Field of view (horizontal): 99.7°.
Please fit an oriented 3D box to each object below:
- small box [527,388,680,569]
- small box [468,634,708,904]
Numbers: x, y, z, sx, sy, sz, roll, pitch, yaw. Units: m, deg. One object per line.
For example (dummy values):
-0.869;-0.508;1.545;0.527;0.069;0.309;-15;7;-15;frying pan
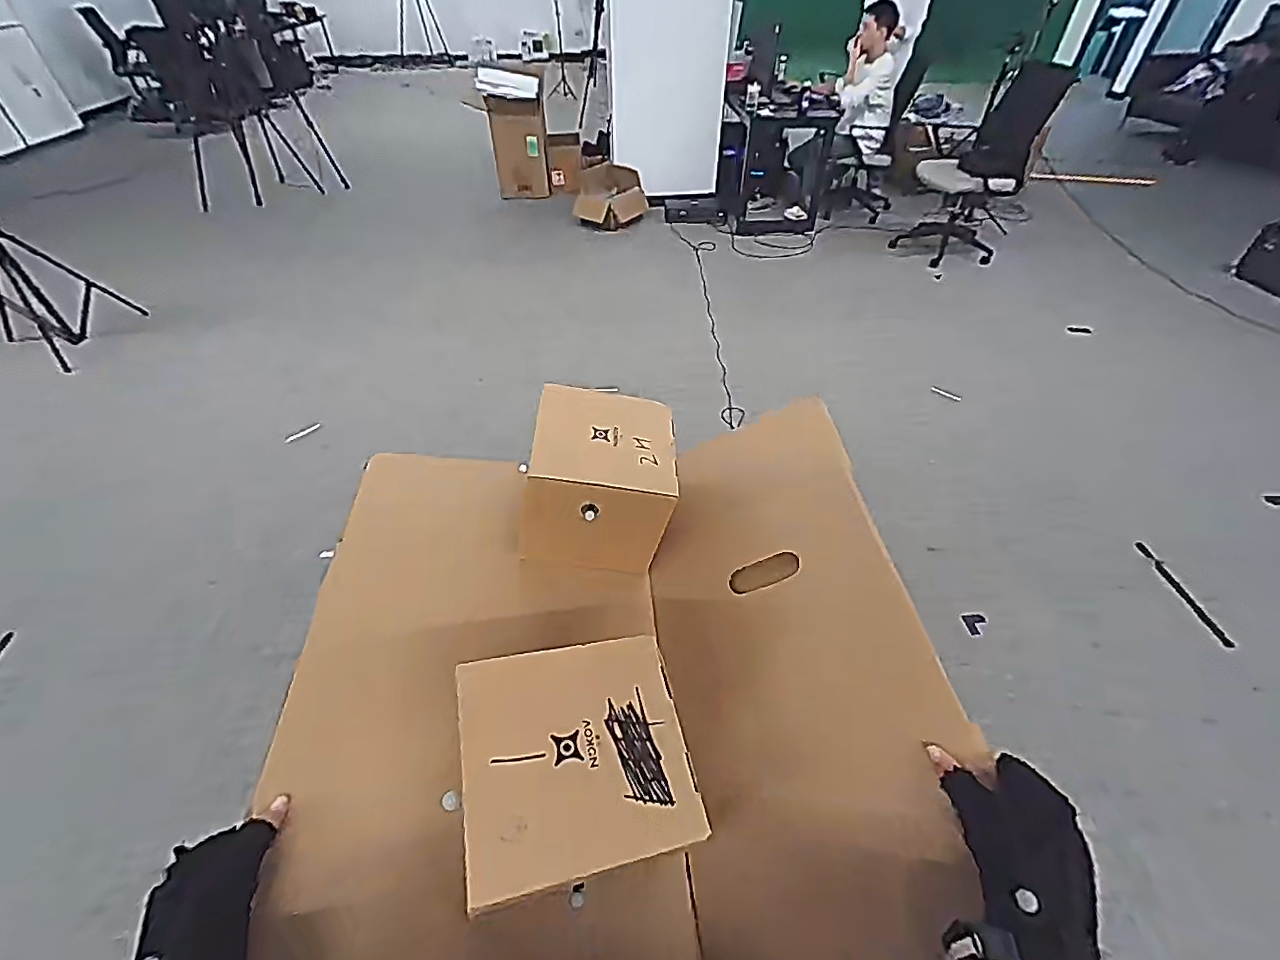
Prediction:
-0.053;0.004;0.731;0.179;0.176;0.168;9;48;-9;small box
-0.064;0.262;0.495;0.179;0.176;0.168;-3;50;-18;small box
